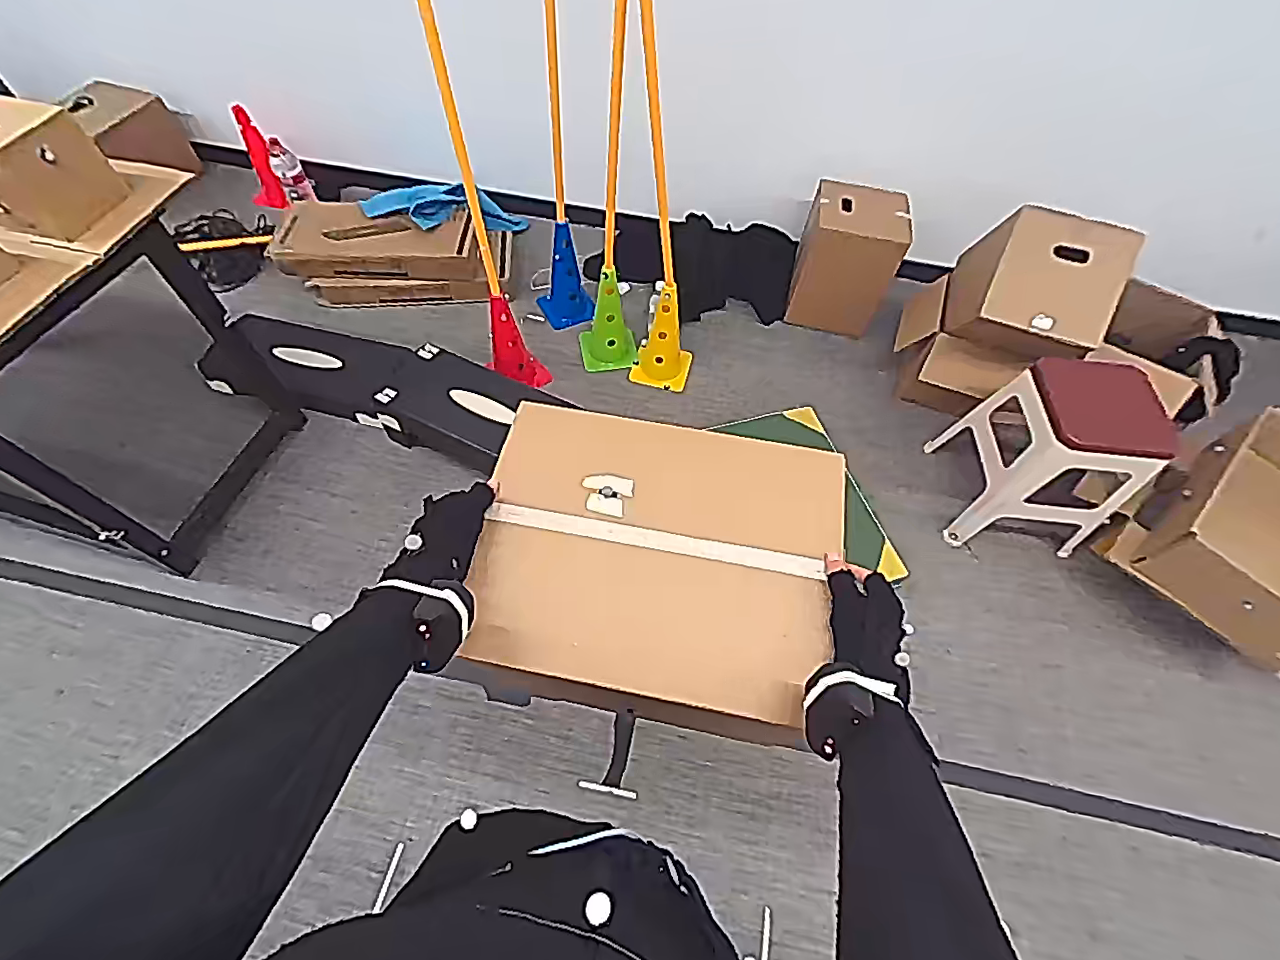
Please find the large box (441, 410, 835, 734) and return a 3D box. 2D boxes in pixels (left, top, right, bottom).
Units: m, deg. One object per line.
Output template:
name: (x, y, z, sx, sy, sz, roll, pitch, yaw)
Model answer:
large box: (0.019, 0.141, 0.739, 0.408, 0.320, 0.320, 10, 62, 6)
